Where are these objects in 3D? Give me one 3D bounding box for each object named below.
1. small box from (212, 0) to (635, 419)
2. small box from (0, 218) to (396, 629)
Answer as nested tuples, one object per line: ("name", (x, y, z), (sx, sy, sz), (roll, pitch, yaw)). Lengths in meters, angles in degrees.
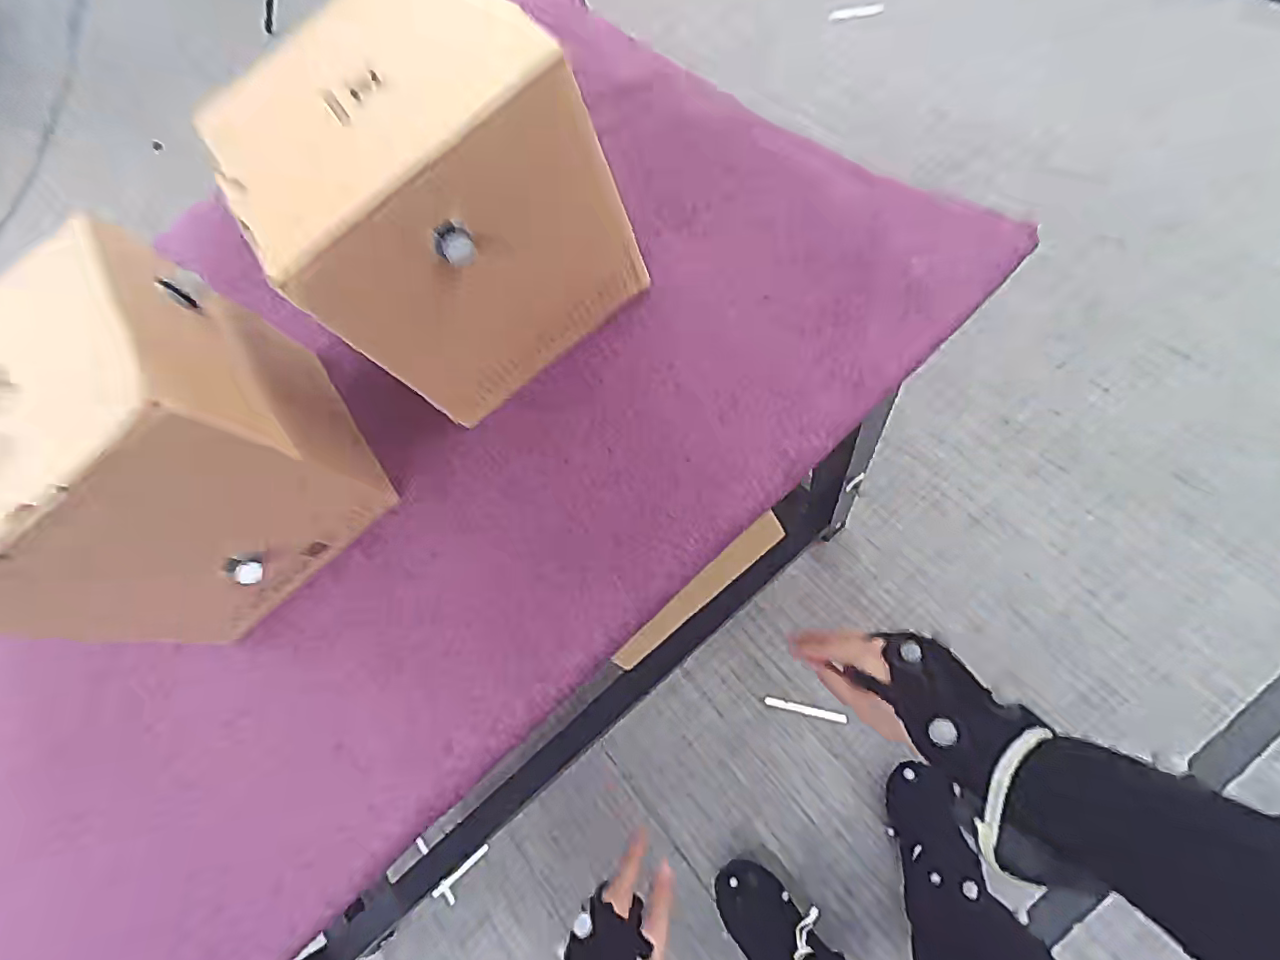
("small box", (-0.120, -0.174, 0.359), (0.179, 0.176, 0.168), (-38, 66, 1))
("small box", (-0.304, -0.019, 0.356), (0.168, 0.176, 0.179), (-40, 67, 1))
